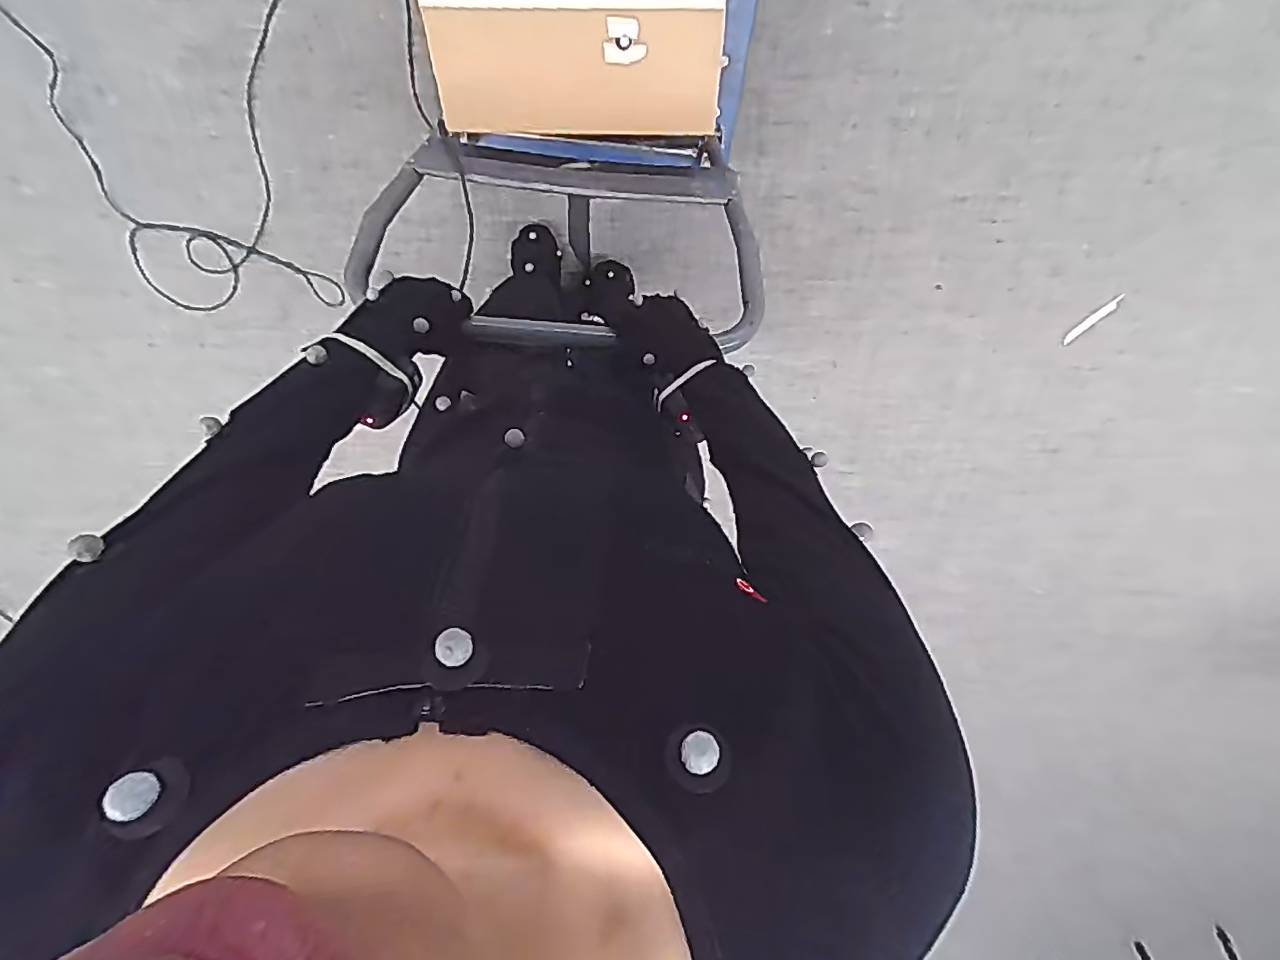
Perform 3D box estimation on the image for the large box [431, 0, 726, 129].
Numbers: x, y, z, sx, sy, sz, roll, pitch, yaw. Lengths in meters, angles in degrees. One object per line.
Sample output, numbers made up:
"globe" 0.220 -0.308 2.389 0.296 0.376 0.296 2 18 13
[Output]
"large box" -0.088 -0.753 0.826 0.408 0.320 0.320 -1 135 -1
